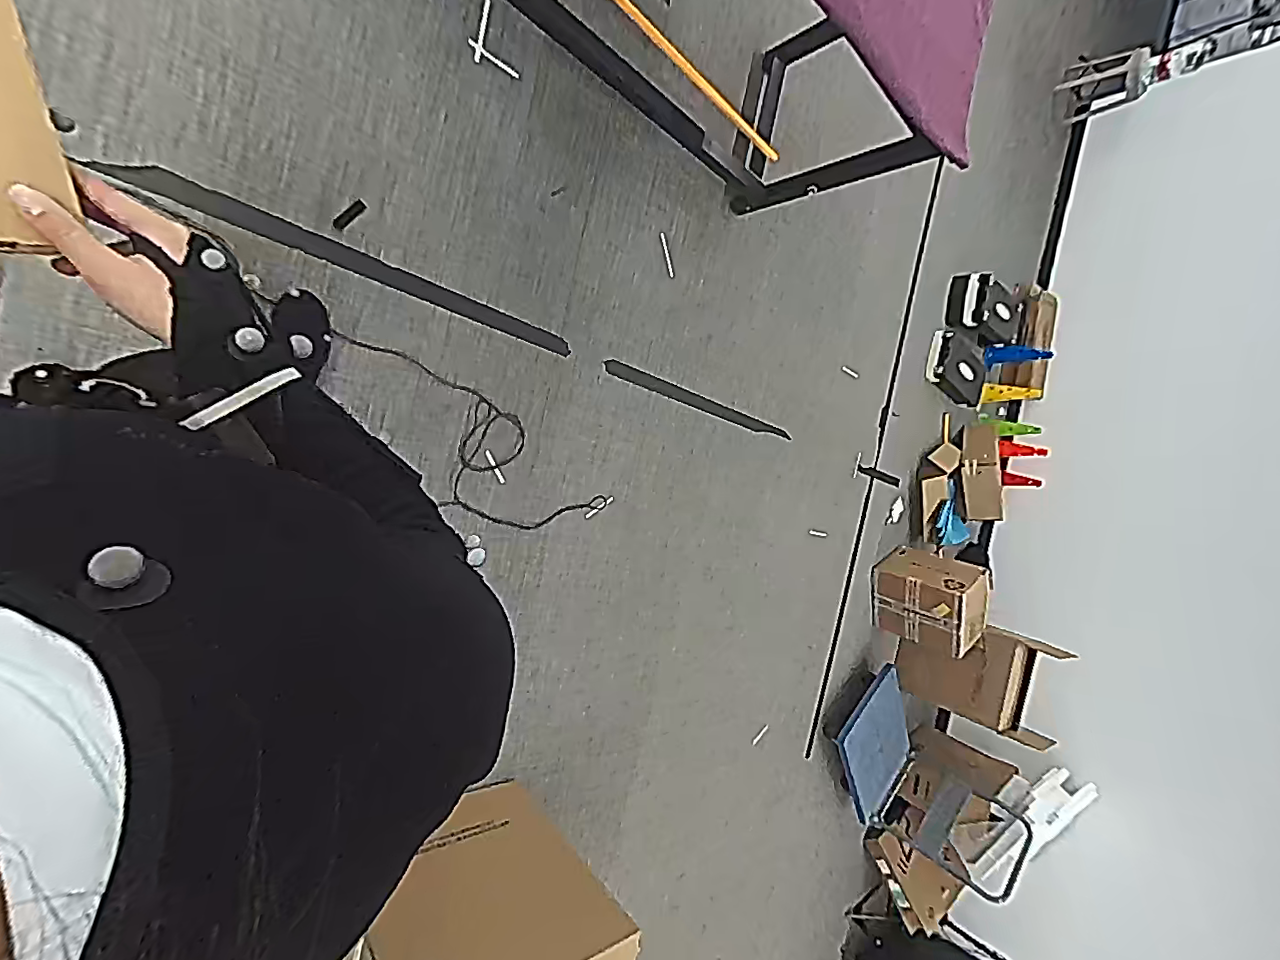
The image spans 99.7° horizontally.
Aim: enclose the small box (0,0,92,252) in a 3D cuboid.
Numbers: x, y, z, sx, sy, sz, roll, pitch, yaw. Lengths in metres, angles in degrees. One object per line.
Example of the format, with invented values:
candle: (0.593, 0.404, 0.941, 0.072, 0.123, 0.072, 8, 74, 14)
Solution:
small box: (-0.432, -0.218, 0.283, 0.168, 0.176, 0.179, -21, 120, -45)
